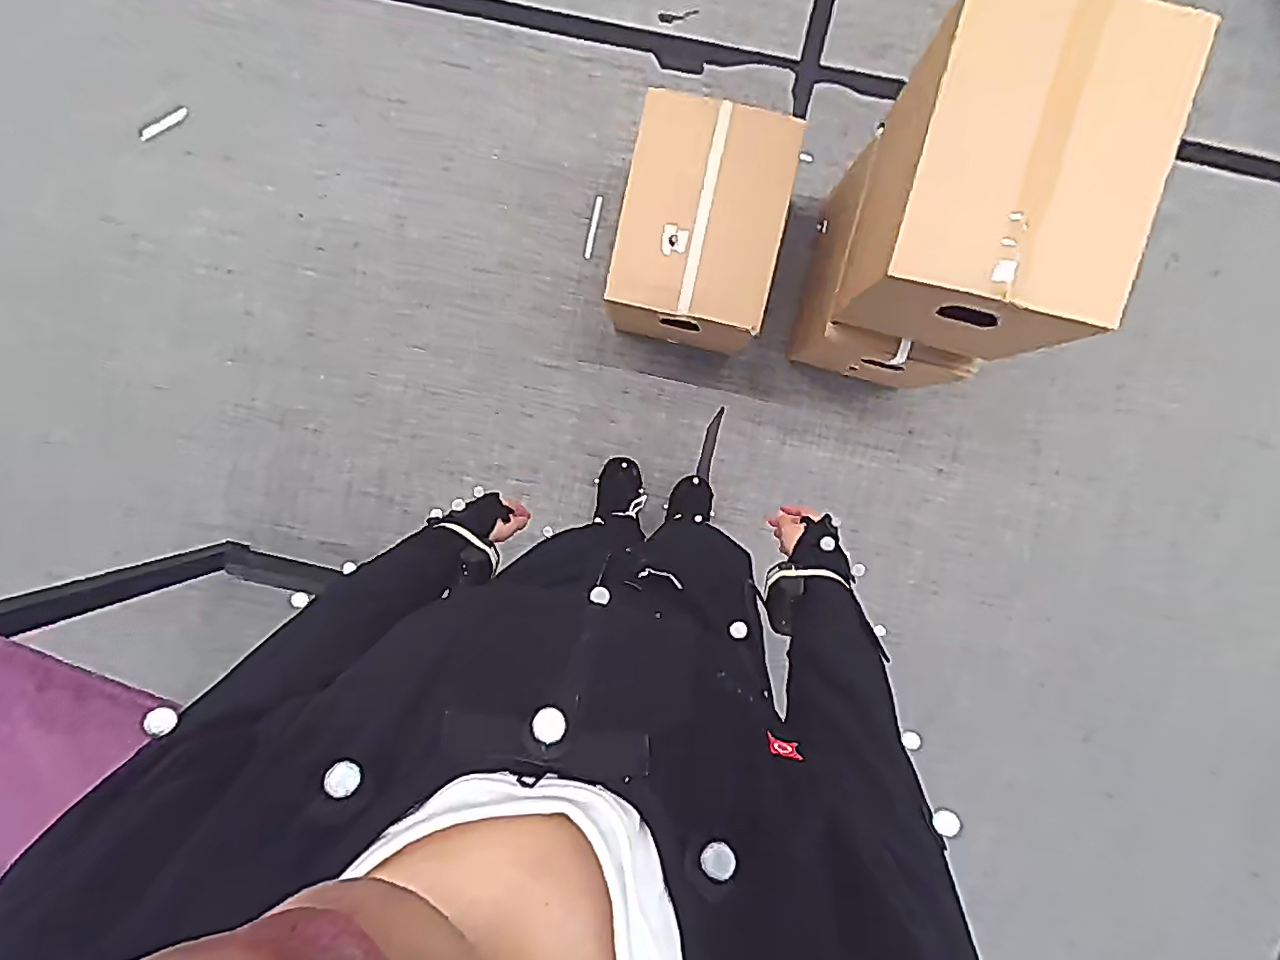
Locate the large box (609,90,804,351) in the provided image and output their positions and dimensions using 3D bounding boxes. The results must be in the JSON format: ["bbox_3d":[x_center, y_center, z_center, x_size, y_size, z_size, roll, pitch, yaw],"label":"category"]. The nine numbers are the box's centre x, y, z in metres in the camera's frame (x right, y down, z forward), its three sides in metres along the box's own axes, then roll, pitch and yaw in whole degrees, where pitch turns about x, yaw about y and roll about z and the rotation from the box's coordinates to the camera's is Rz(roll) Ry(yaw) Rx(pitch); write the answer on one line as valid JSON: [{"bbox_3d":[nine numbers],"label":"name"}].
[{"bbox_3d":[0.126,-0.528,1.181,0.320,0.320,0.408,12,96,1],"label":"large box"}]
